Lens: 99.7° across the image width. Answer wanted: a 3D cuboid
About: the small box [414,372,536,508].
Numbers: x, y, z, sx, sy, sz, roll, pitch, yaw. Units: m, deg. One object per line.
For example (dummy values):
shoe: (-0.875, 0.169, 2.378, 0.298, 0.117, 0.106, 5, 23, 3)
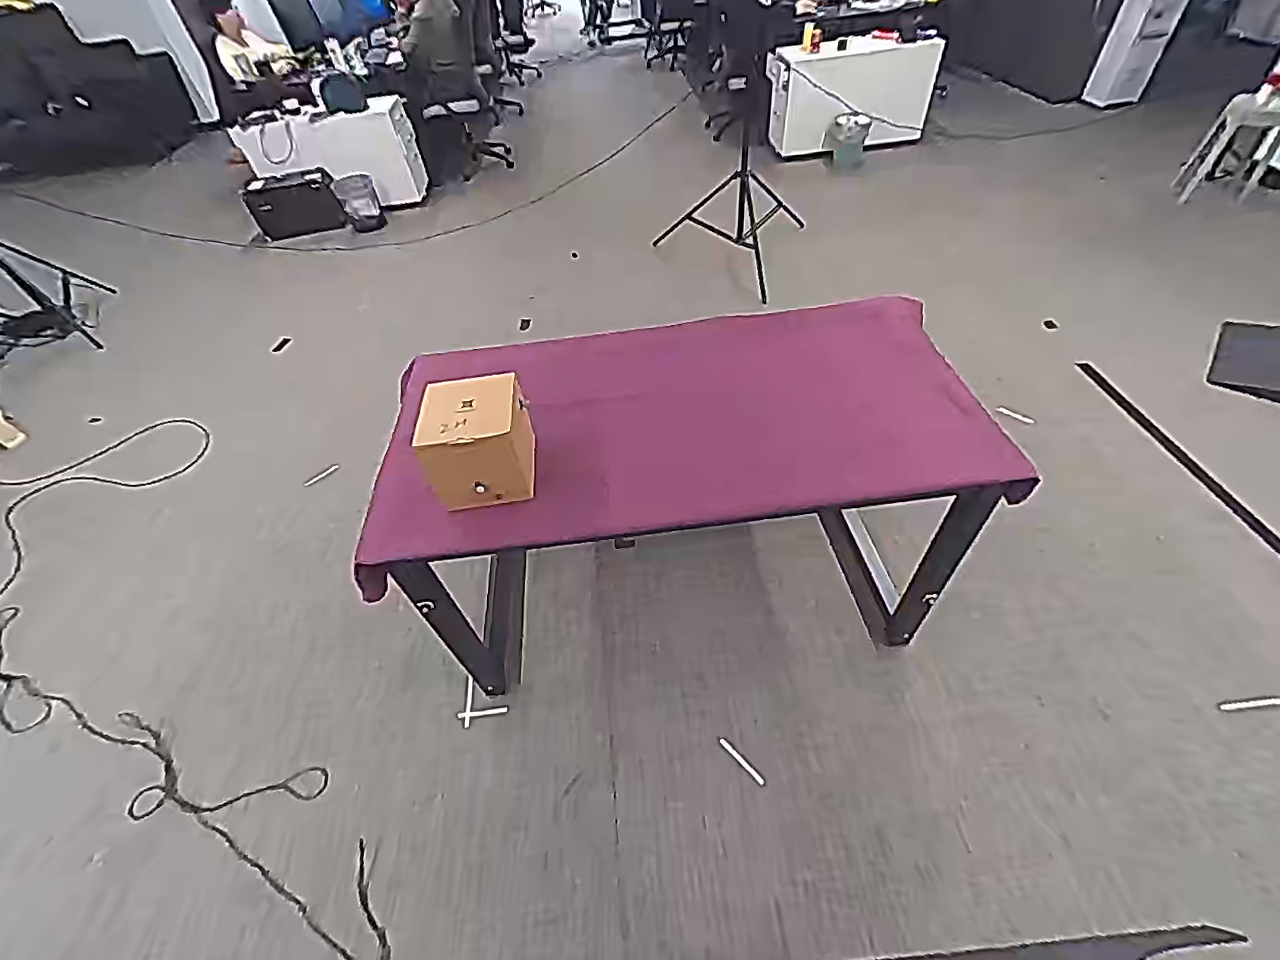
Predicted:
small box: (-0.293, -0.073, 1.005, 0.168, 0.176, 0.179, -8, 47, 0)
